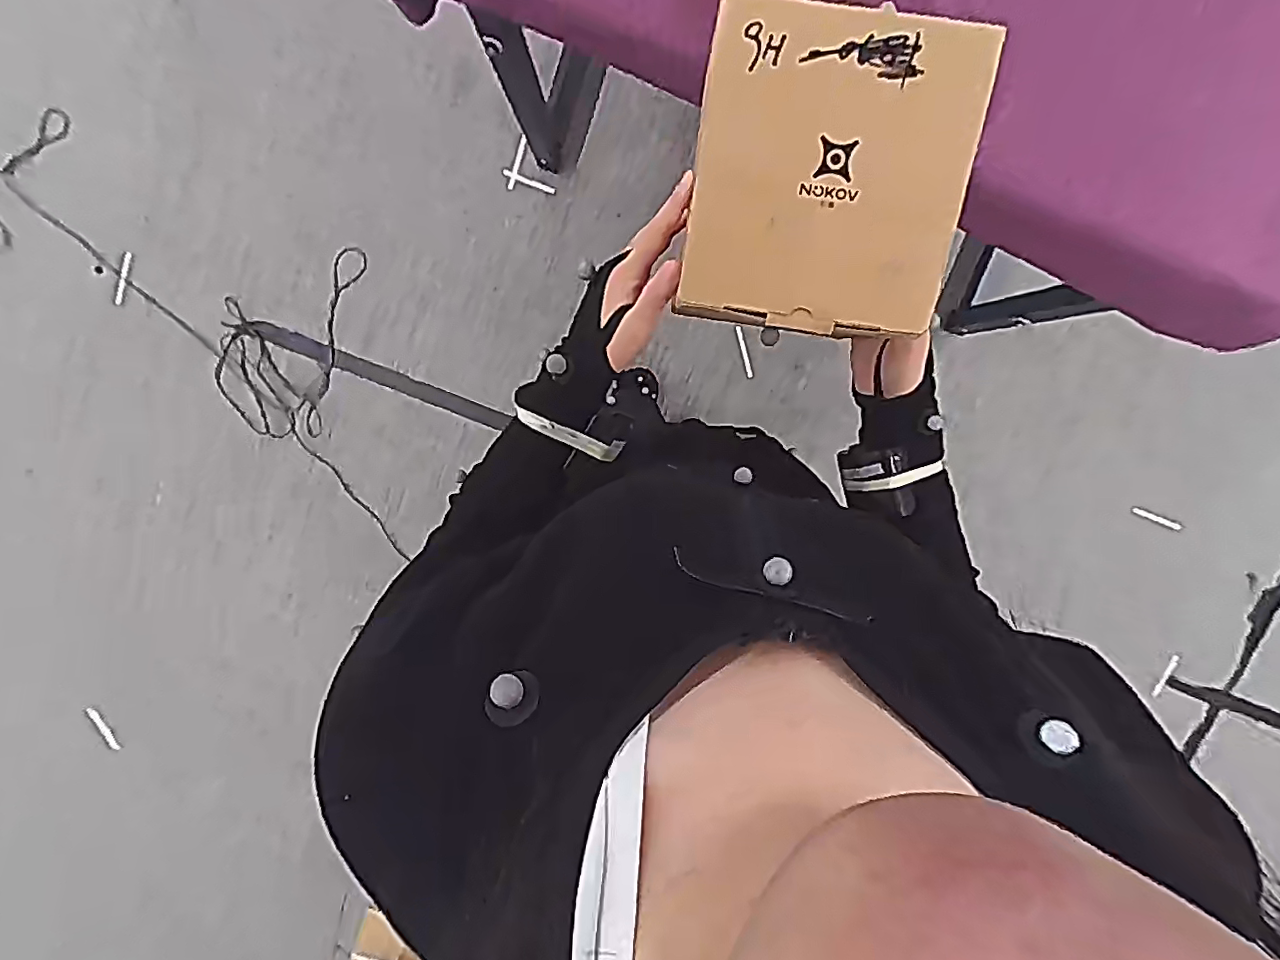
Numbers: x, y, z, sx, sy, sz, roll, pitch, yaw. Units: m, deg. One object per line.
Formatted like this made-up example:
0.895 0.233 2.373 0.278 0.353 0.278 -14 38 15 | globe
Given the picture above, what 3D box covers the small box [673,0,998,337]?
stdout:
0.120 -0.212 0.414 0.168 0.176 0.179 8 106 0 | small box
